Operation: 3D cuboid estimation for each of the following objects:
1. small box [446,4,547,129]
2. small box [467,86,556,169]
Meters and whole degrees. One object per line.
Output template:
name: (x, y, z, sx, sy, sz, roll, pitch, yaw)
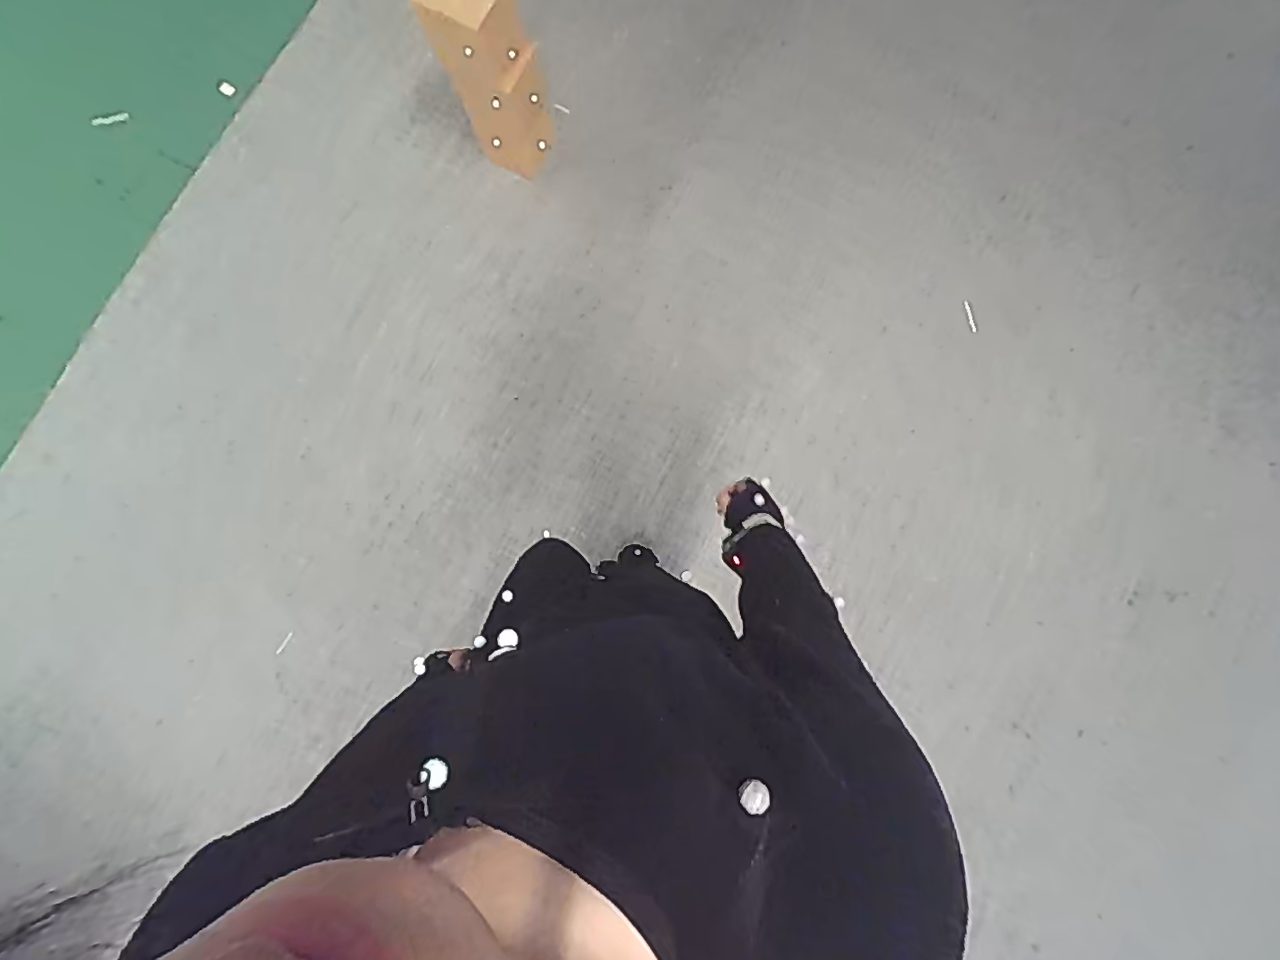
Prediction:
small box: (-0.361, -1.058, 1.402, 0.179, 0.176, 0.168, 26, 85, 3)
small box: (-0.362, -1.045, 1.567, 0.179, 0.176, 0.168, 26, 85, 4)
